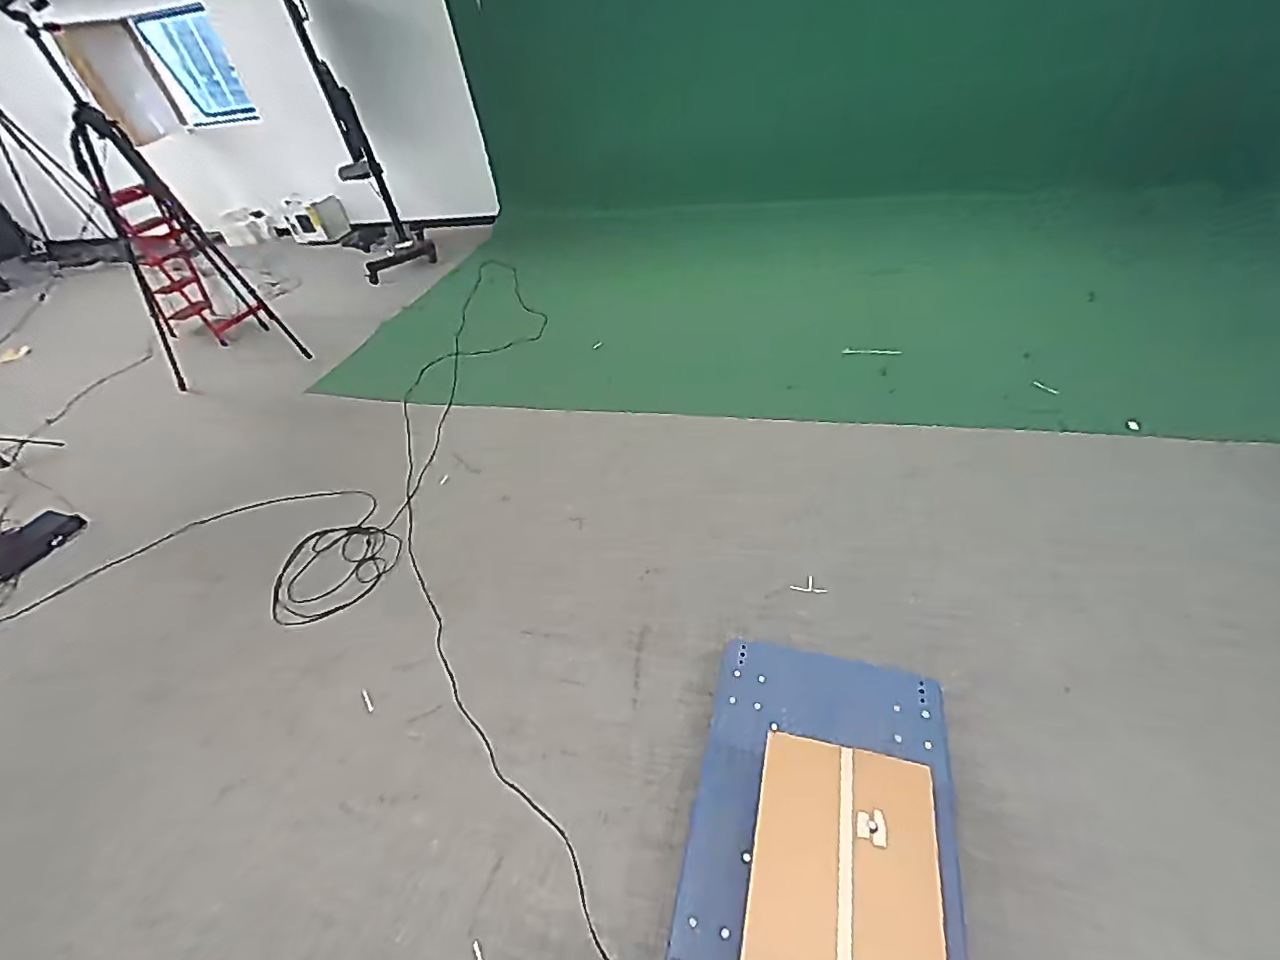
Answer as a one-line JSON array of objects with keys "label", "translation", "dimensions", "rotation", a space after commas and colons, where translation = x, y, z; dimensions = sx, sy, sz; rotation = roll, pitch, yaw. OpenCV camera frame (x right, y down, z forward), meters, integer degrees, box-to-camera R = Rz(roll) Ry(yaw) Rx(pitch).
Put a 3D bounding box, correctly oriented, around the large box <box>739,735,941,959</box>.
[{"label": "large box", "translation": [0.377, 0.797, 1.068], "dimensions": [0.320, 0.320, 0.408], "rotation": [7, 44, 16]}]
